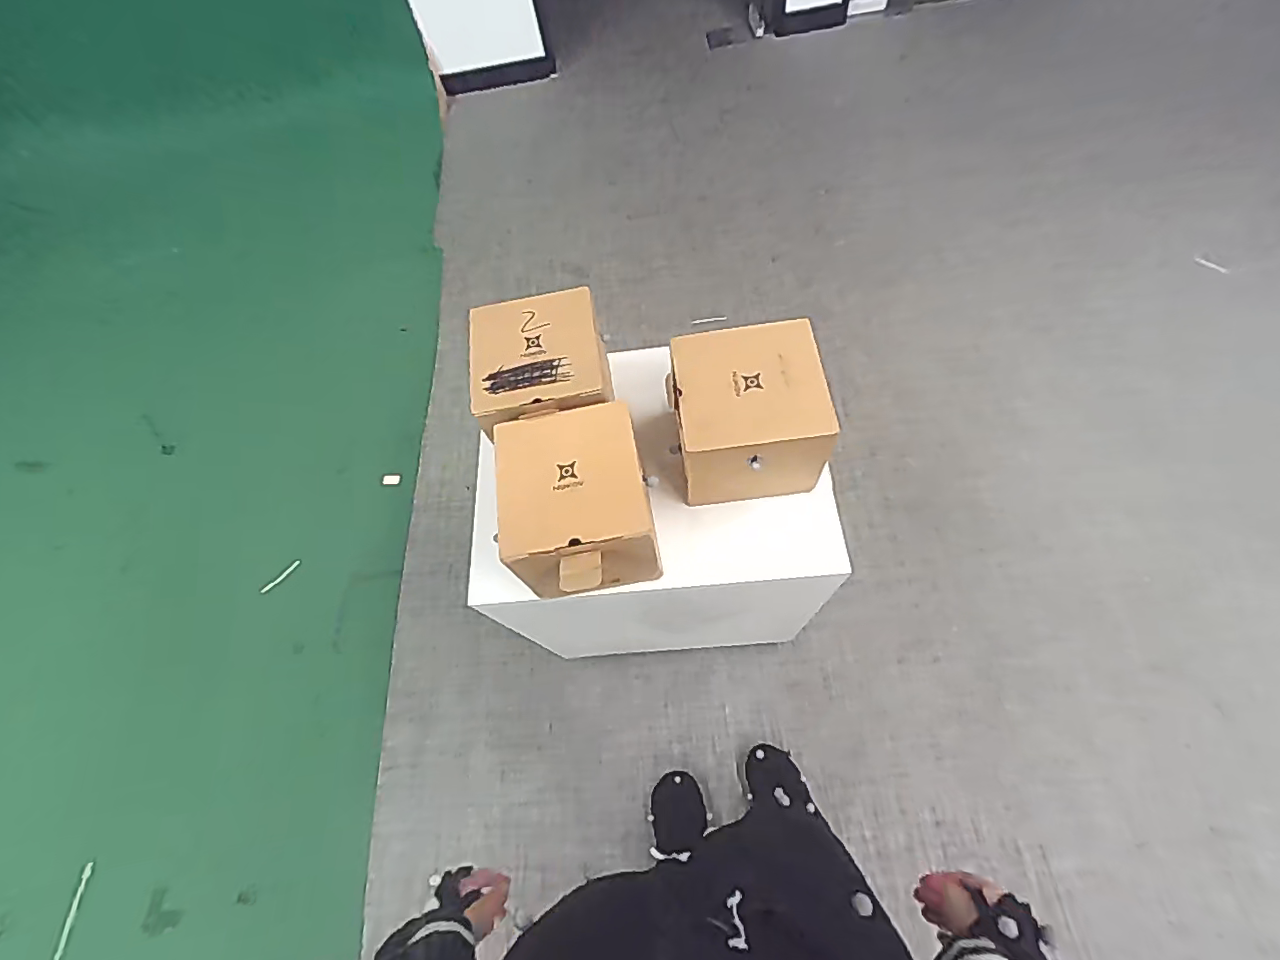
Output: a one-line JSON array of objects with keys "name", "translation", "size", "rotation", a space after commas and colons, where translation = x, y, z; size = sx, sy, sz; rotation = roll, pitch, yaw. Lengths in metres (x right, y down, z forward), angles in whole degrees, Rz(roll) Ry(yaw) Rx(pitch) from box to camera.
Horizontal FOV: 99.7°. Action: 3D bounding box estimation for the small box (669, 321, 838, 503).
[{"name": "small box", "translation": [0.138, -0.078, 0.706], "size": [0.179, 0.176, 0.168], "rotation": [-7, 66, 4]}]
